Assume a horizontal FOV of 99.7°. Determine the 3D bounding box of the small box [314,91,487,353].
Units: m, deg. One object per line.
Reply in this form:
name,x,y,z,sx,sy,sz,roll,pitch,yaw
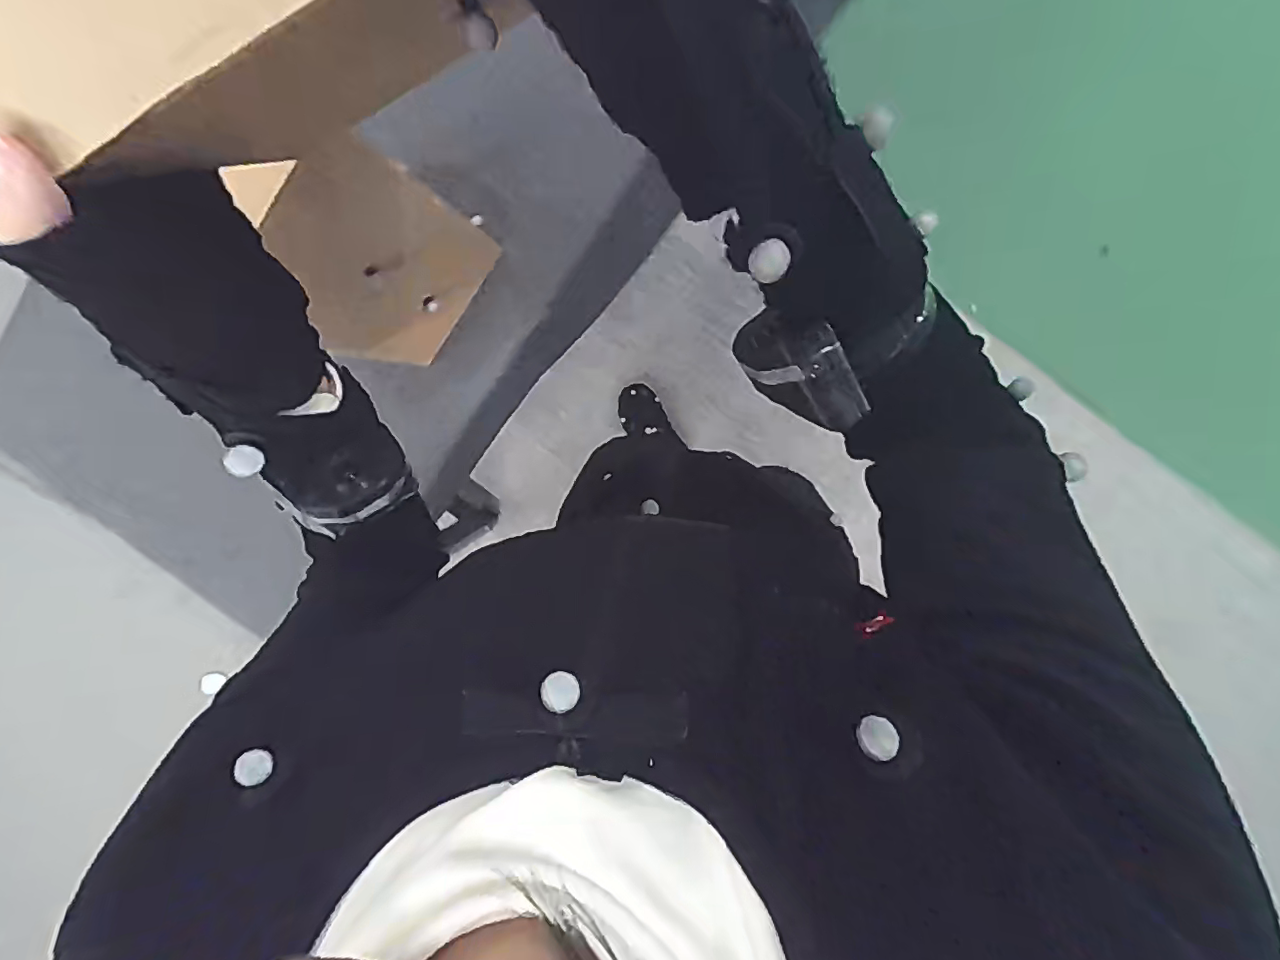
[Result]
small box,-0.297,-0.265,0.603,0.168,0.176,0.179,40,100,1
